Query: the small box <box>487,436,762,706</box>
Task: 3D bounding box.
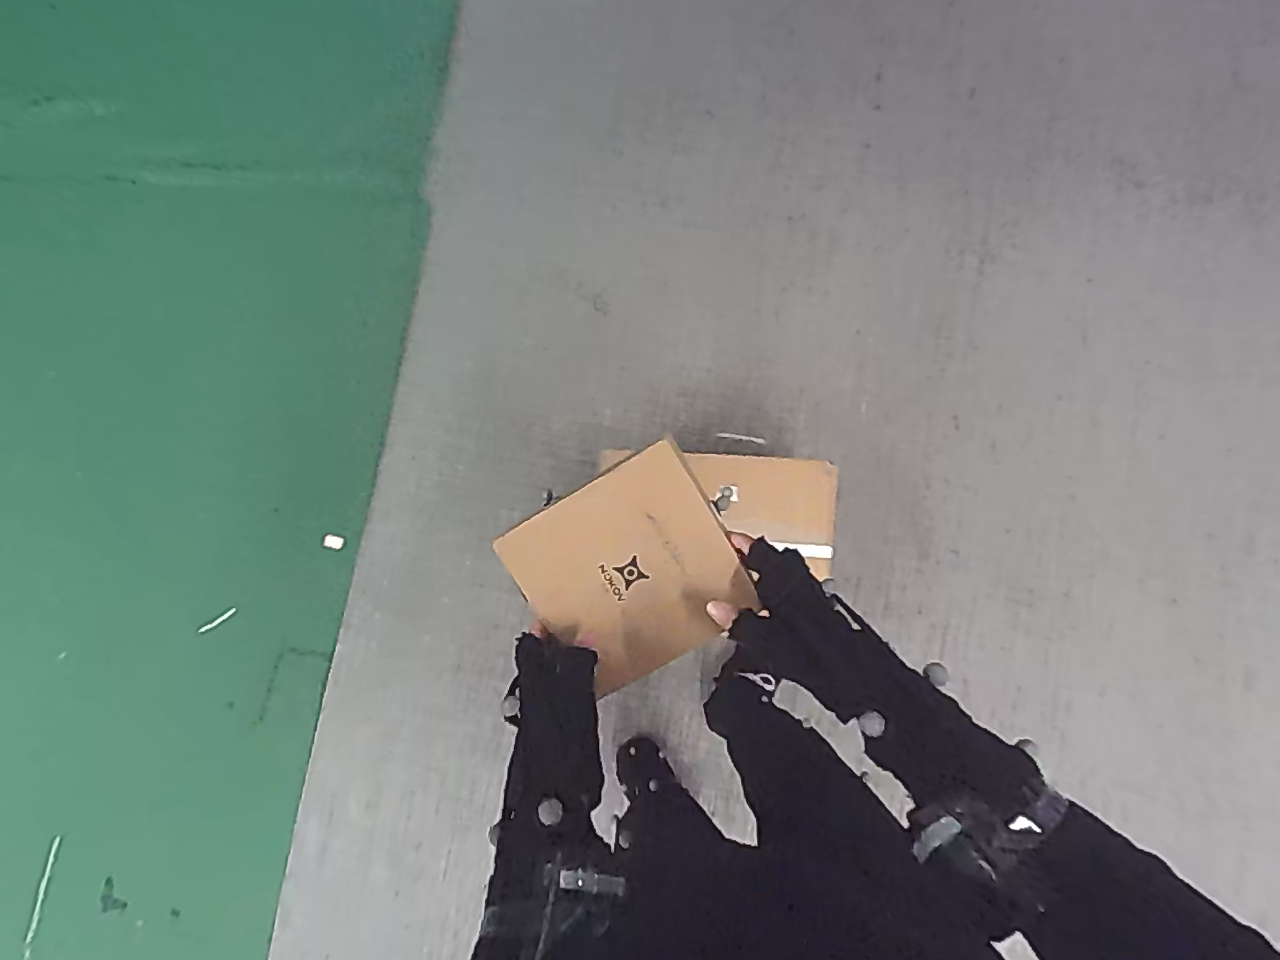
[{"bbox_3d":[-0.009,0.072,0.520,0.179,0.176,0.168,-32,95,6],"label":"small box"}]
